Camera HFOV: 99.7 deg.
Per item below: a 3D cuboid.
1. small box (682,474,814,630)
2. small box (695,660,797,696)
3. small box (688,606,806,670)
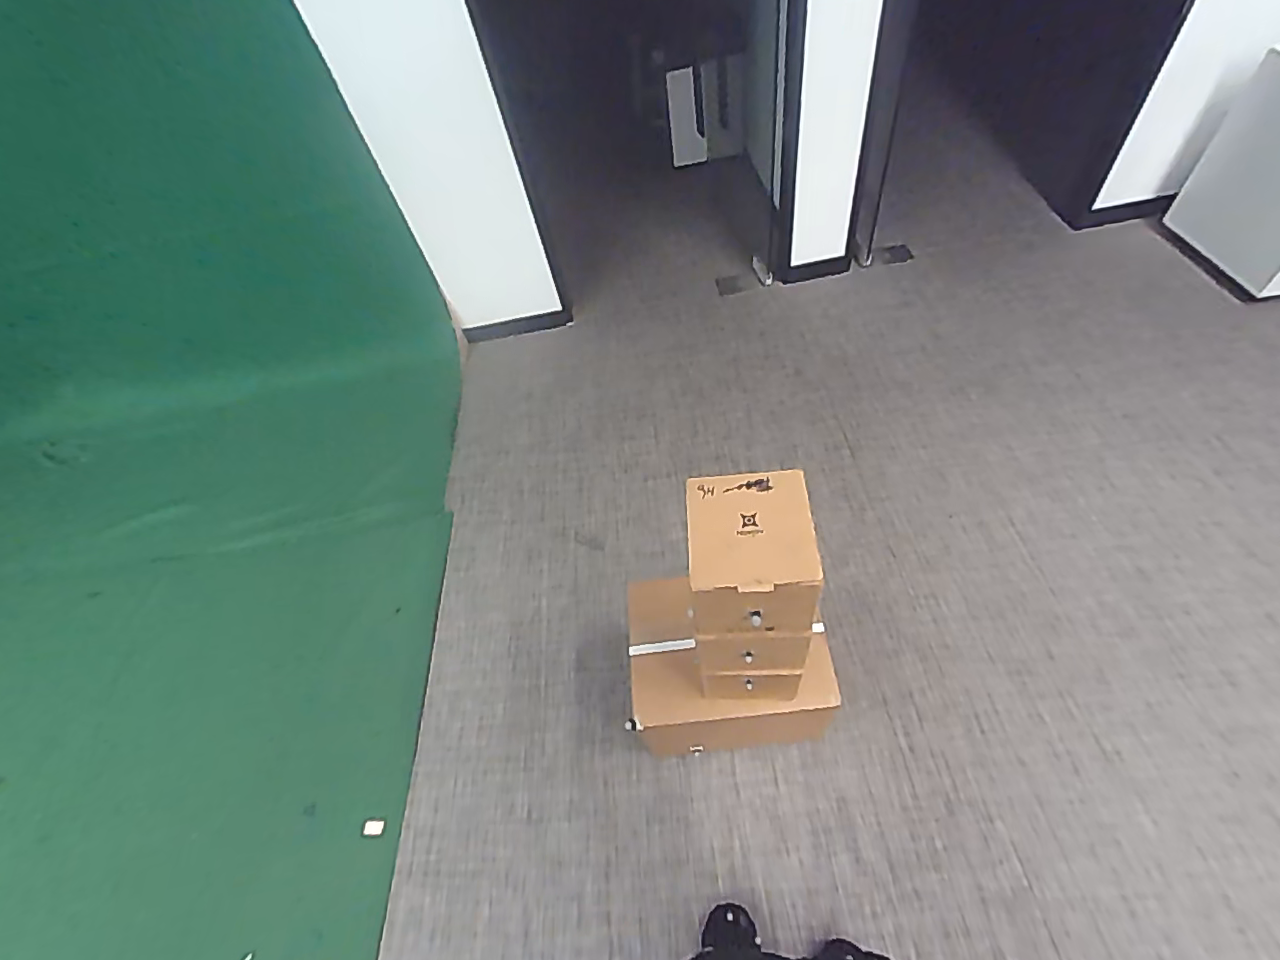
[{"bbox_3d":[0.152,0.113,0.785,0.168,0.176,0.179,-4,55,8],"label":"small box"},{"bbox_3d":[0.197,0.313,1.041,0.179,0.176,0.168,-3,55,7],"label":"small box"},{"bbox_3d":[0.175,0.215,0.912,0.179,0.176,0.168,-5,54,10],"label":"small box"}]
